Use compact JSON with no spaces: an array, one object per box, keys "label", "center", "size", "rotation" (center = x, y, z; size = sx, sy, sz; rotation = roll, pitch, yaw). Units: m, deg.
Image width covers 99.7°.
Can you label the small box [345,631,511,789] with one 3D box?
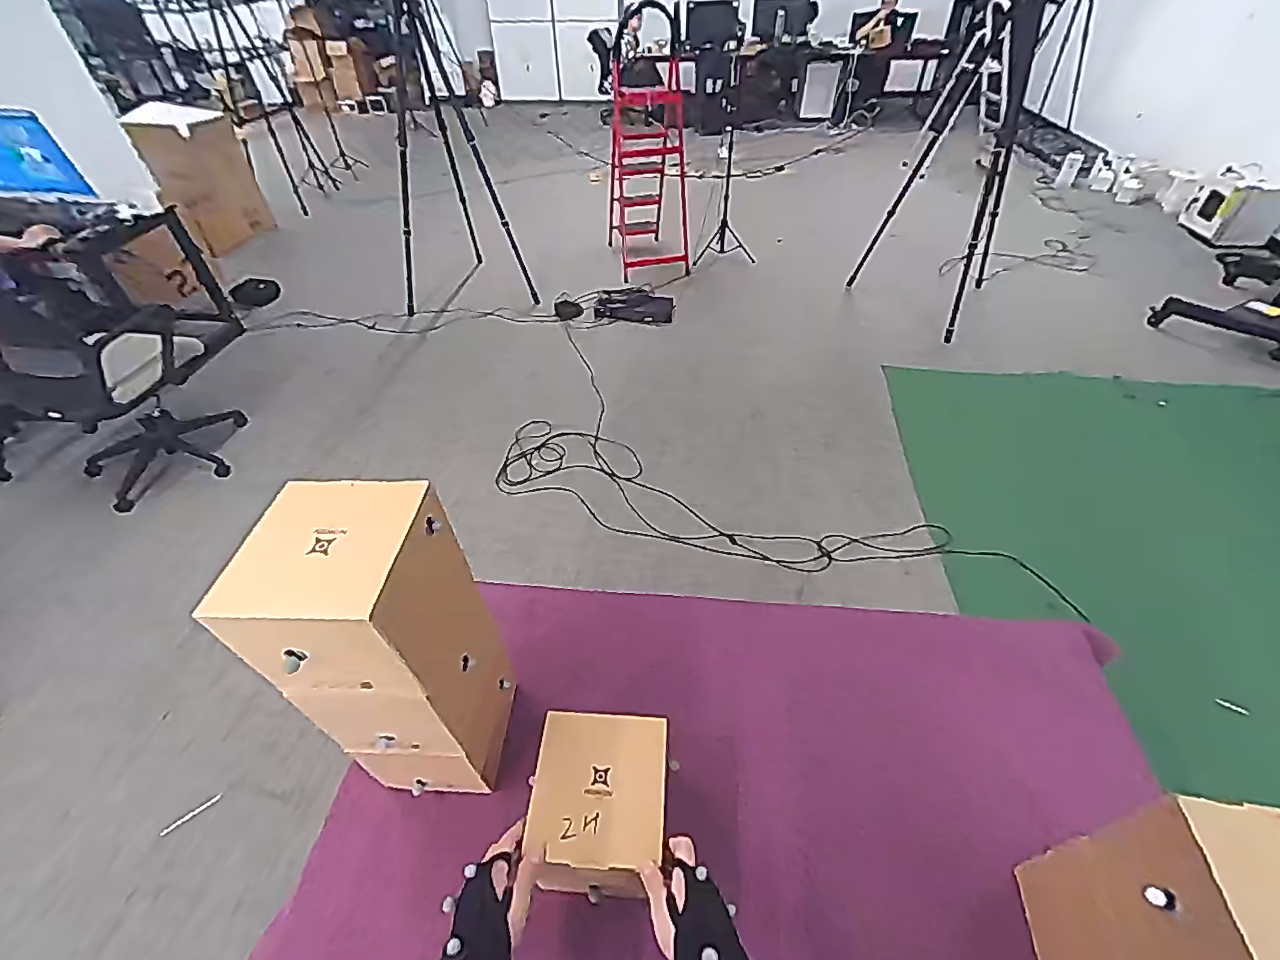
[{"label":"small box","center":[-0.304,0.346,0.825],"size":[0.168,0.176,0.179],"rotation":[1,46,4]}]

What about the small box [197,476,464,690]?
[{"label":"small box","center":[-0.312,0.115,0.596],"size":[0.168,0.176,0.179],"rotation":[0,44,3]}]

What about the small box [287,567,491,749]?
[{"label":"small box","center":[-0.307,0.229,0.711],"size":[0.168,0.176,0.179],"rotation":[1,45,4]}]

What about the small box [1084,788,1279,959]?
[{"label":"small box","center":[0.558,0.416,0.490],"size":[0.168,0.176,0.179],"rotation":[5,44,9]}]

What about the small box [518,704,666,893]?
[{"label":"small box","center":[-0.053,0.430,0.732],"size":[0.168,0.176,0.179],"rotation":[2,45,5]}]
